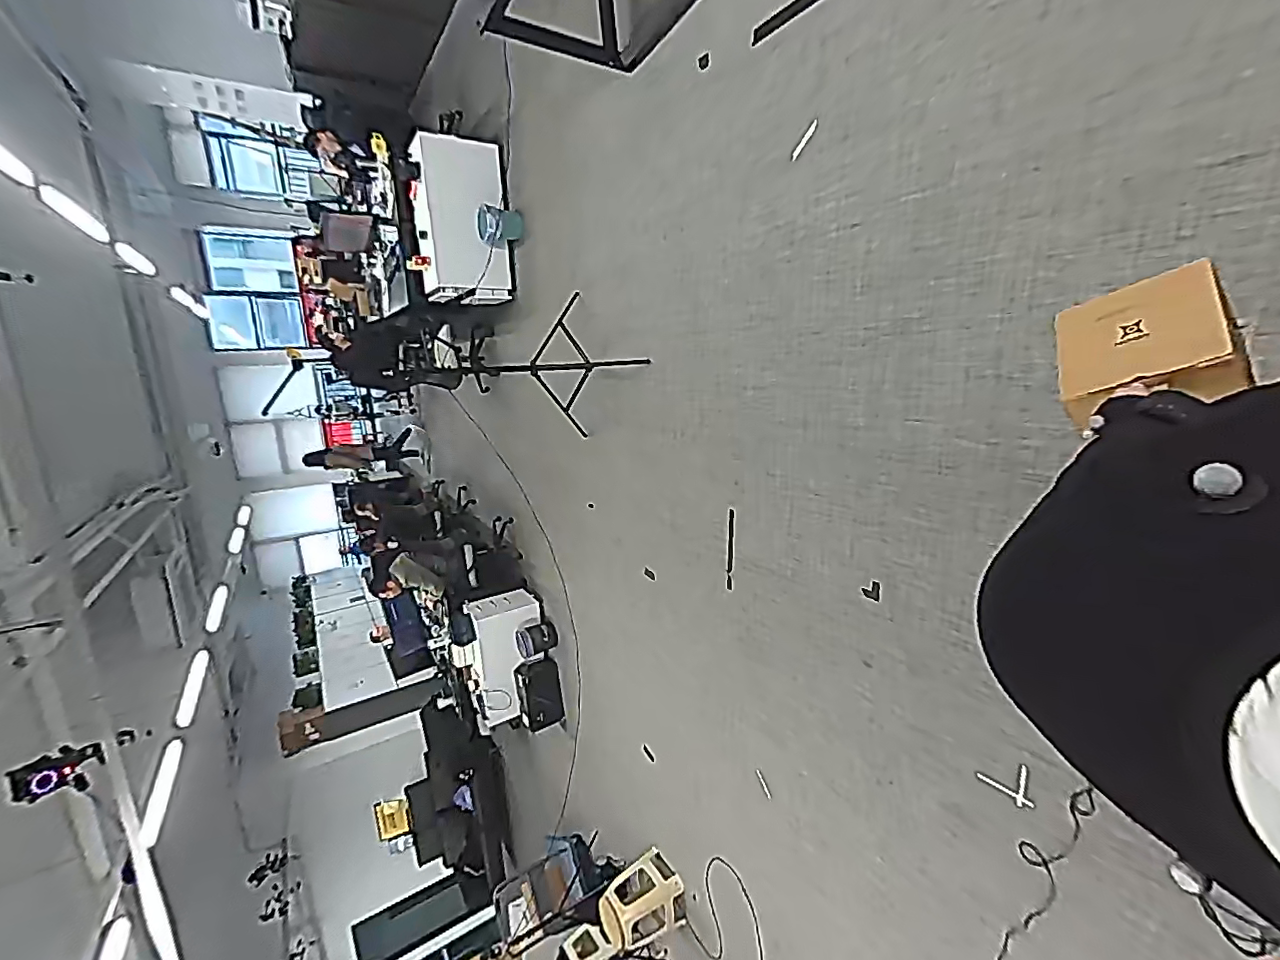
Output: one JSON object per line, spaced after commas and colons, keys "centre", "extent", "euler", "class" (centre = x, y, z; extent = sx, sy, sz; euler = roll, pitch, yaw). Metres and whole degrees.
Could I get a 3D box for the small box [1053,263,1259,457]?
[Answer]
{"centre": [0.702, -0.149, 0.746], "extent": [0.168, 0.176, 0.179], "euler": [-18, 43, 51], "class": "small box"}
